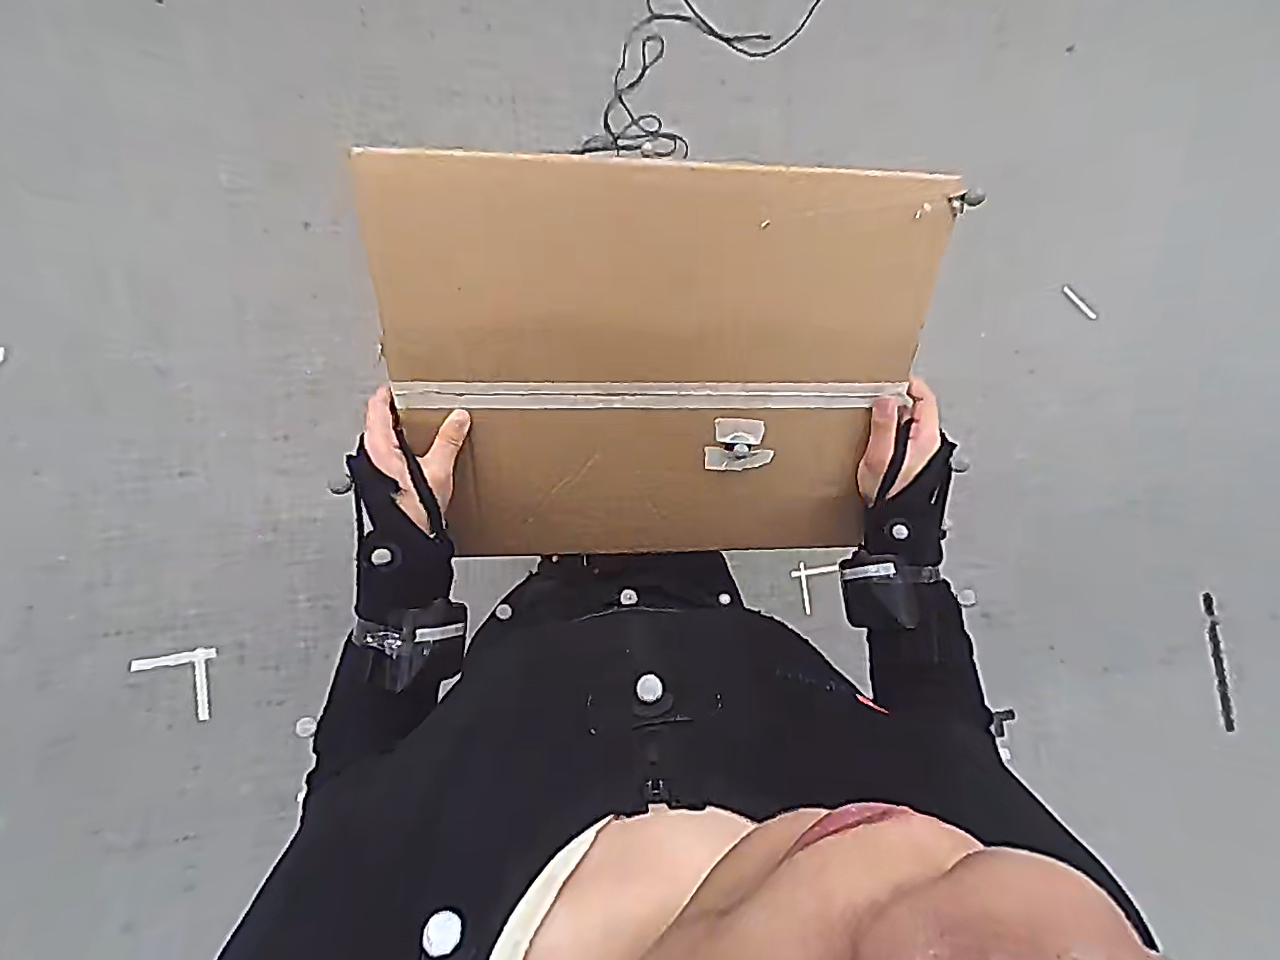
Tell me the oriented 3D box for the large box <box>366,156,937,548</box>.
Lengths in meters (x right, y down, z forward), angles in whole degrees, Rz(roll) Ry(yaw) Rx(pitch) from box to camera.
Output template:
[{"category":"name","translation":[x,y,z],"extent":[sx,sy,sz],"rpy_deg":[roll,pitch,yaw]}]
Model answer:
[{"category":"large box","translation":[-0.003,-0.152,0.568],"extent":[0.408,0.320,0.320],"rpy_deg":[-2,121,-7]}]
